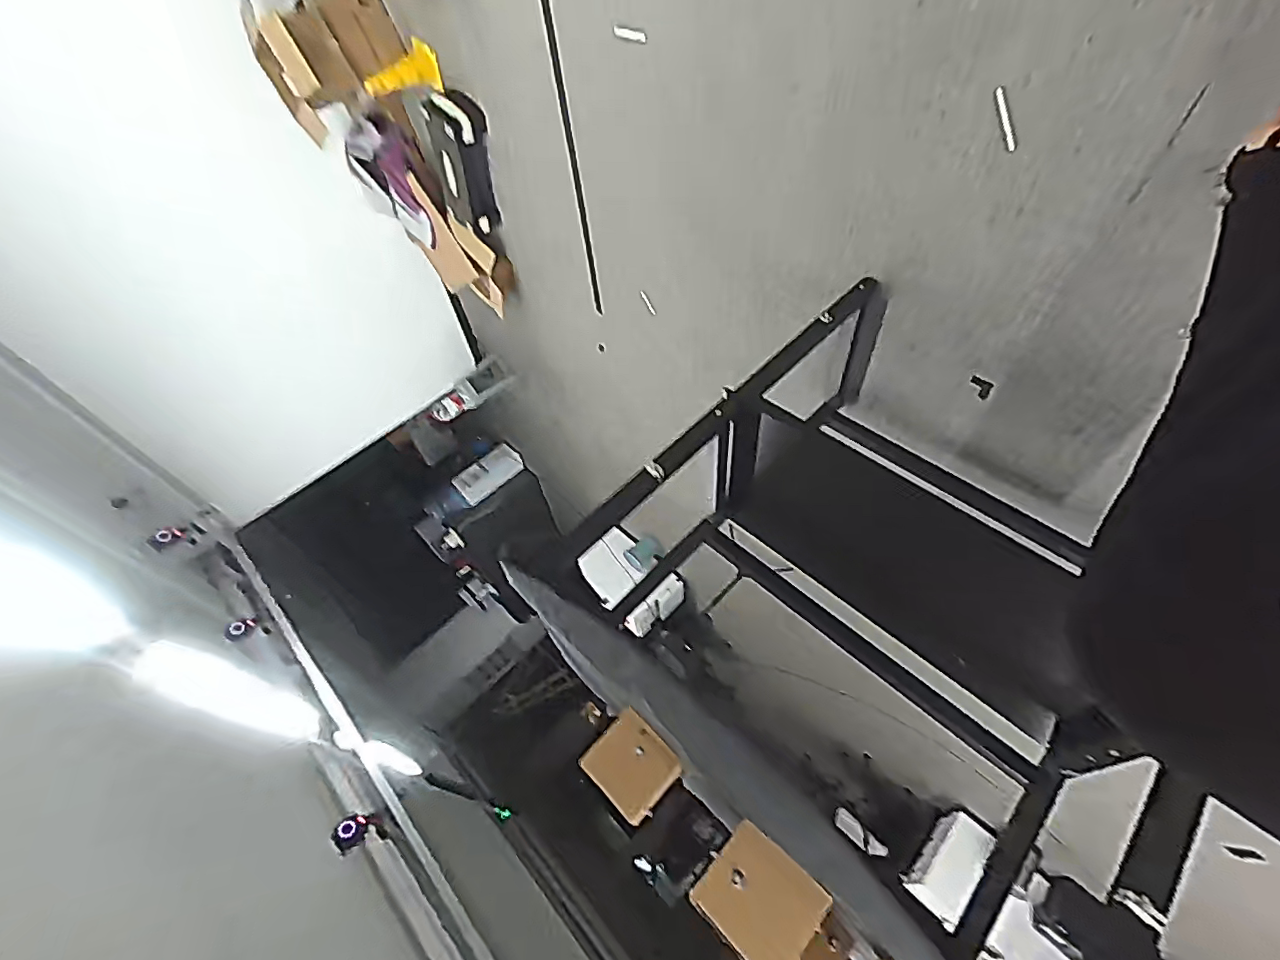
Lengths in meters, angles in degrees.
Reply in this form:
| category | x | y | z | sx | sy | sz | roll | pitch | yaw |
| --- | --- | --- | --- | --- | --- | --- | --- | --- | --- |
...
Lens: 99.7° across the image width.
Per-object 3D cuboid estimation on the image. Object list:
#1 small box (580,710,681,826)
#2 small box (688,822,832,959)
| category | x | y | z | sx | sy | sz | roll | pitch | yaw |
| --- | --- | --- | --- | --- | --- | --- | --- | --- | --- |
| small box | -0.017 | 0.680 | 1.280 | 0.168 | 0.176 | 0.179 | 38 | 155 | 25 |
| small box | 0.207 | 0.739 | 0.955 | 0.179 | 0.176 | 0.168 | 36 | 157 | 30 |
